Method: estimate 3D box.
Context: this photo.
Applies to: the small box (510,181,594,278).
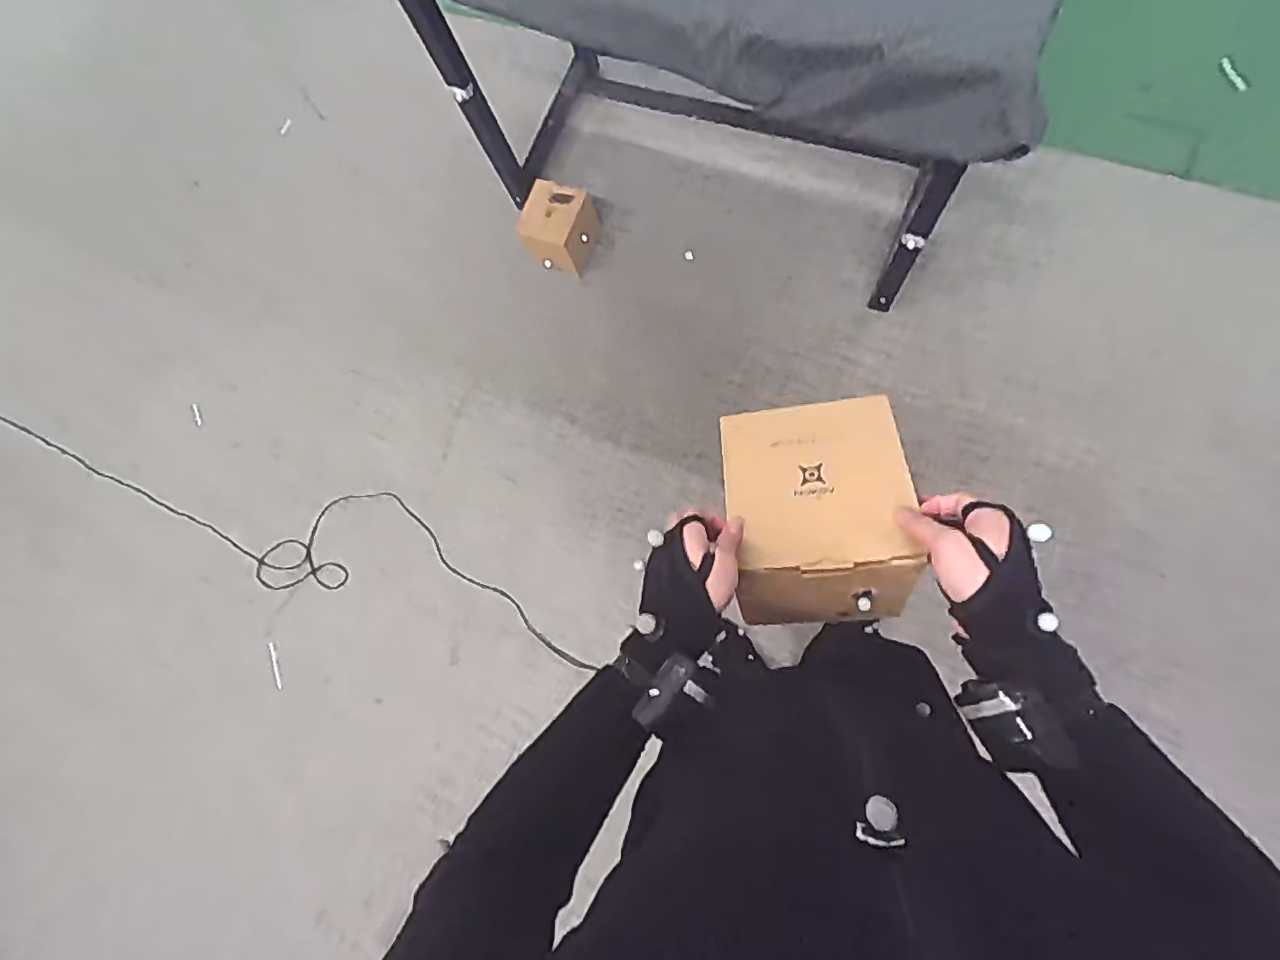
[{"bbox_3d":[-0.250,-0.733,1.595,0.168,0.176,0.179,21,84,13],"label":"small box"}]
